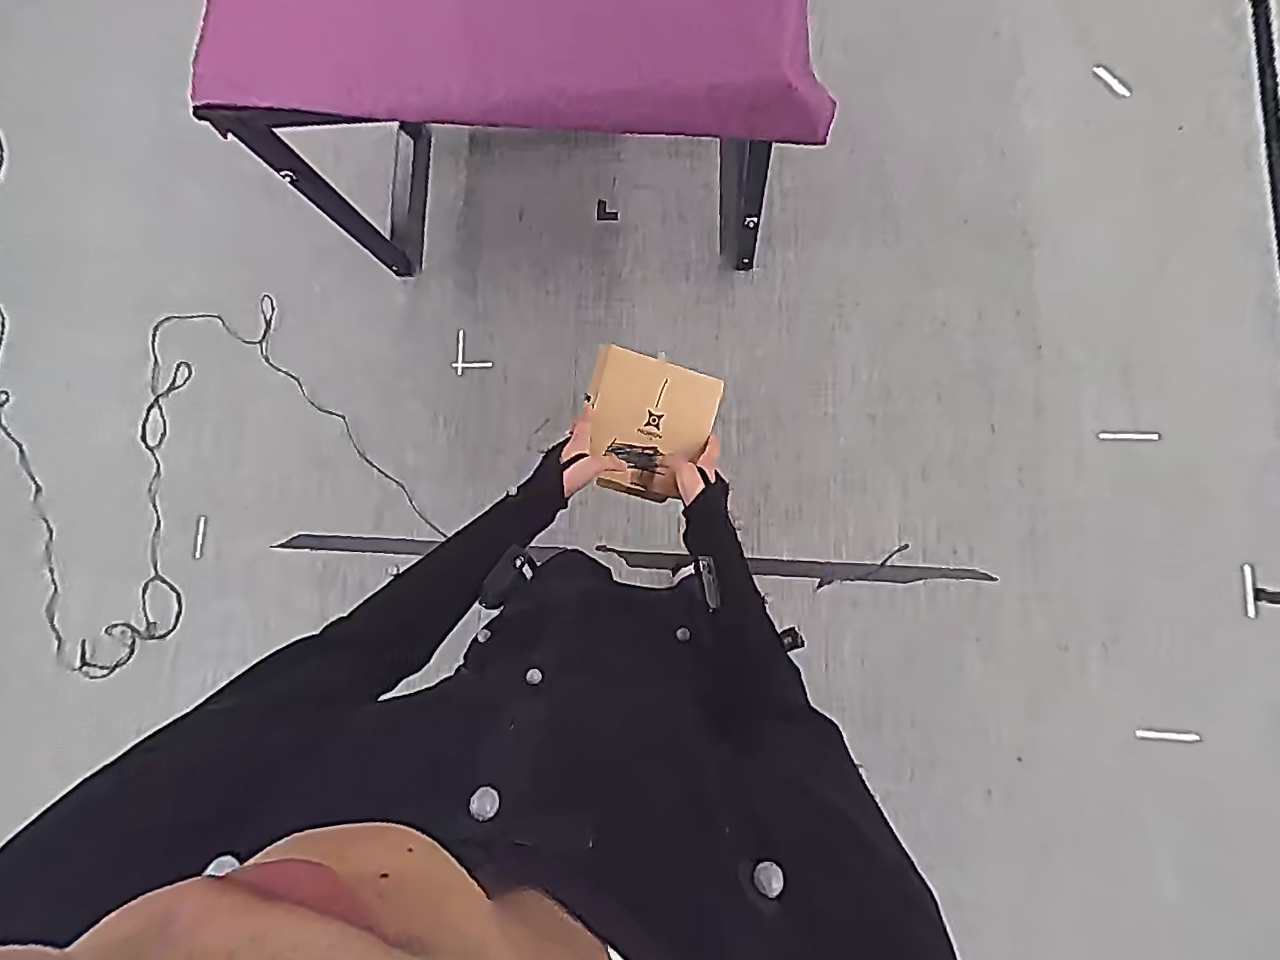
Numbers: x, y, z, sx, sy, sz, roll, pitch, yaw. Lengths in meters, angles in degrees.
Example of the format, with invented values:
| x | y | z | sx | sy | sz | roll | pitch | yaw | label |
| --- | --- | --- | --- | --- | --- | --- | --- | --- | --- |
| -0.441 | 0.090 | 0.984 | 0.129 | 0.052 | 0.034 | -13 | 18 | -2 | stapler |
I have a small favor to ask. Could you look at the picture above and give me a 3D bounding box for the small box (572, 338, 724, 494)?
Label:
| x | y | z | sx | sy | sz | roll | pitch | yaw | label |
| --- | --- | --- | --- | --- | --- | --- | --- | --- | --- |
| 0.001 | -0.100 | 0.803 | 0.168 | 0.176 | 0.179 | 16 | 101 | -12 | small box |
